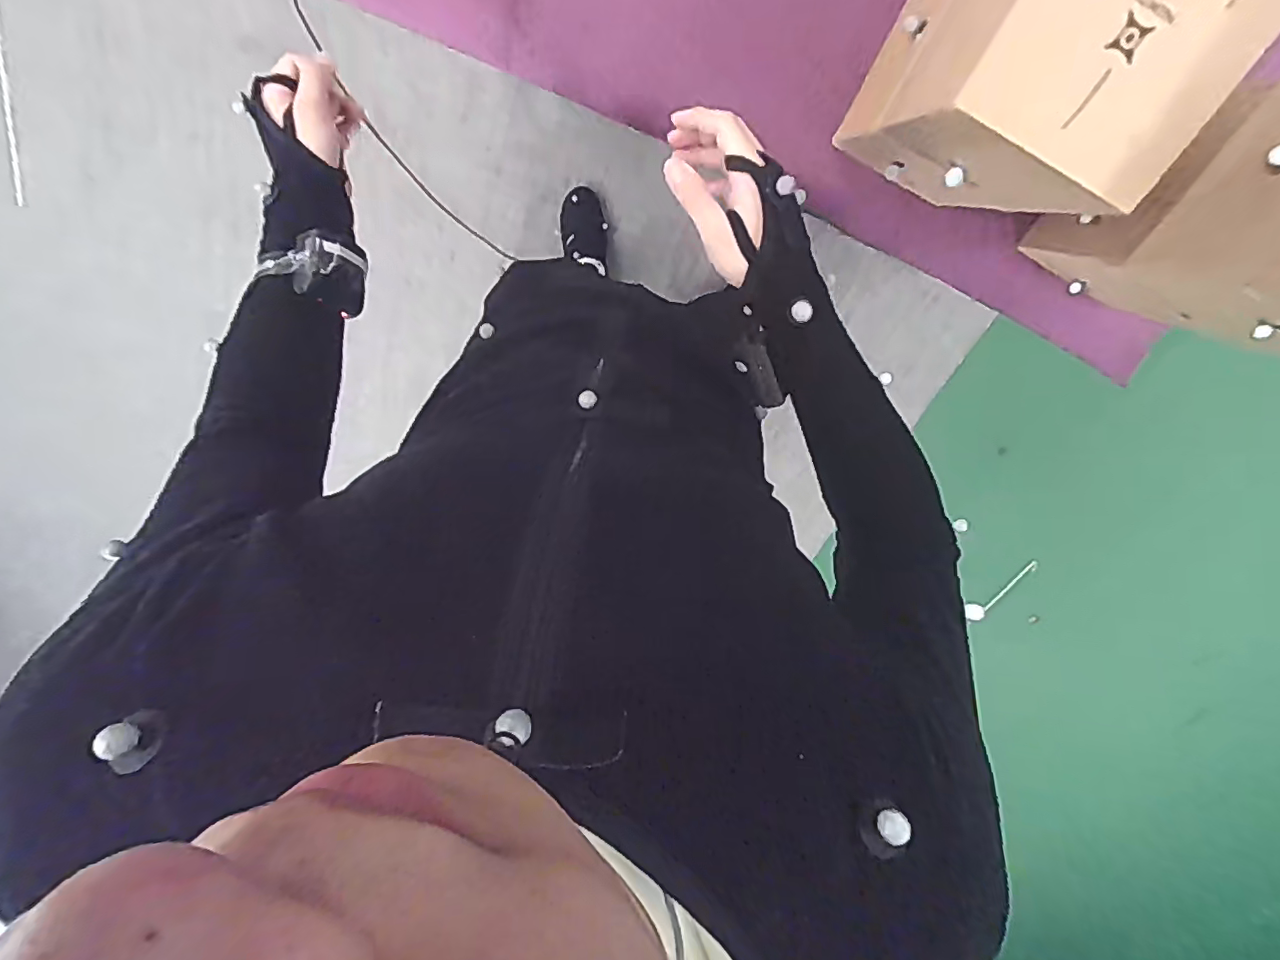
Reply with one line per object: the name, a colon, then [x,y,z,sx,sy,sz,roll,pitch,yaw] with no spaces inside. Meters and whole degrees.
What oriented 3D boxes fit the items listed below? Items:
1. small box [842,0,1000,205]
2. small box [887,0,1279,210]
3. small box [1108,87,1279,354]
small box: [0.338,-0.417,0.572,0.168,0.176,0.179,24,116,-9]
small box: [0.332,-0.339,0.427,0.168,0.176,0.179,24,116,-9]
small box: [0.584,-0.223,0.471,0.168,0.176,0.179,26,116,-9]
